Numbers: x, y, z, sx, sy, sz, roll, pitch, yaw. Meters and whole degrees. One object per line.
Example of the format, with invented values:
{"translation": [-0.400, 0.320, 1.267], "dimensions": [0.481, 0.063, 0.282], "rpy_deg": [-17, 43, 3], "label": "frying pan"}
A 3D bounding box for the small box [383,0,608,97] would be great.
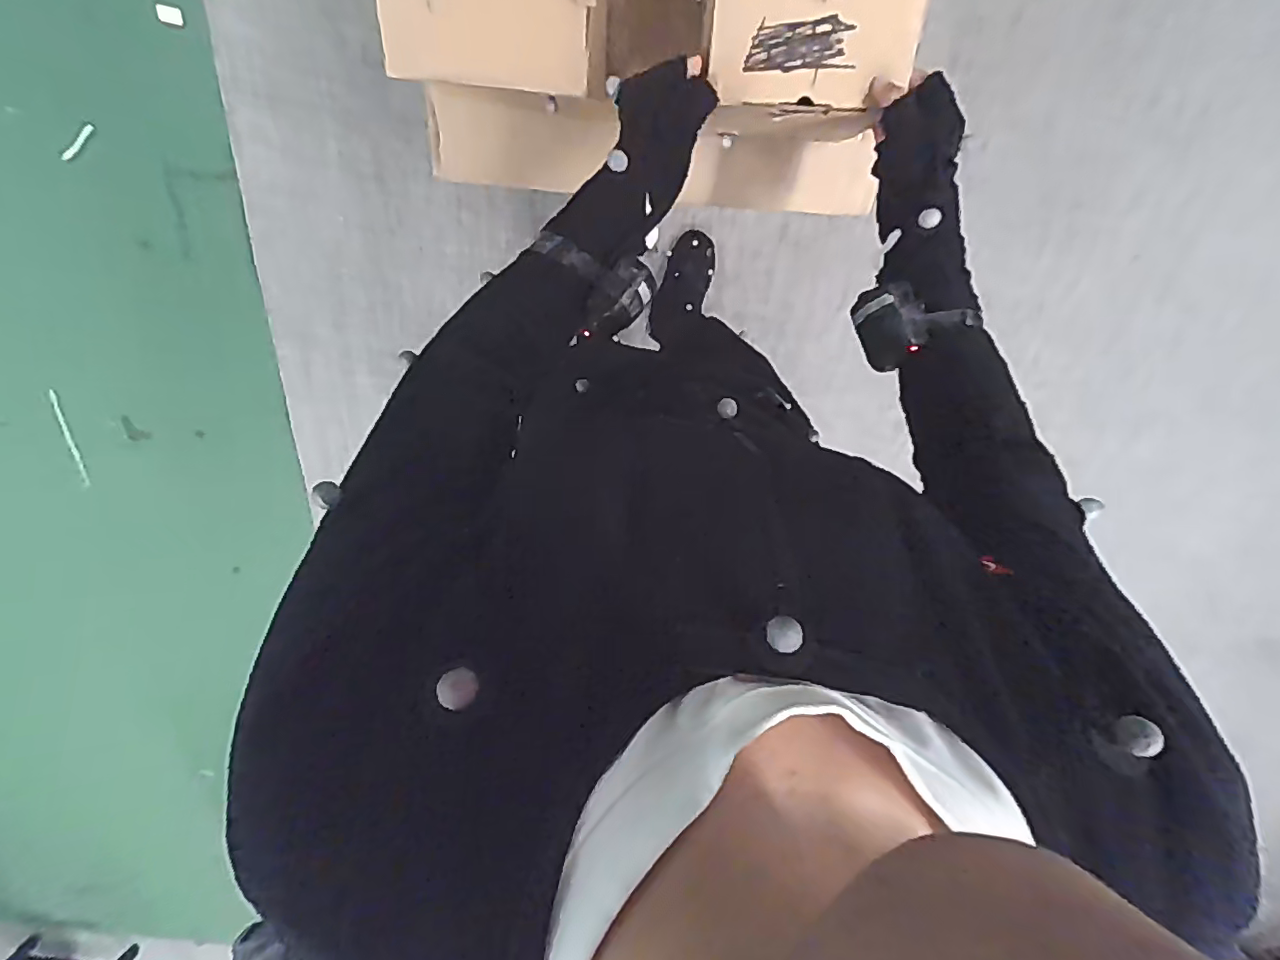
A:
{"translation": [-0.120, -0.458, 0.494], "dimensions": [0.179, 0.176, 0.168], "rpy_deg": [5, 124, 1], "label": "small box"}

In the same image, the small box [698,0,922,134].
{"translation": [0.143, -0.426, 0.486], "dimensions": [0.168, 0.176, 0.179], "rpy_deg": [3, 114, 1], "label": "small box"}
